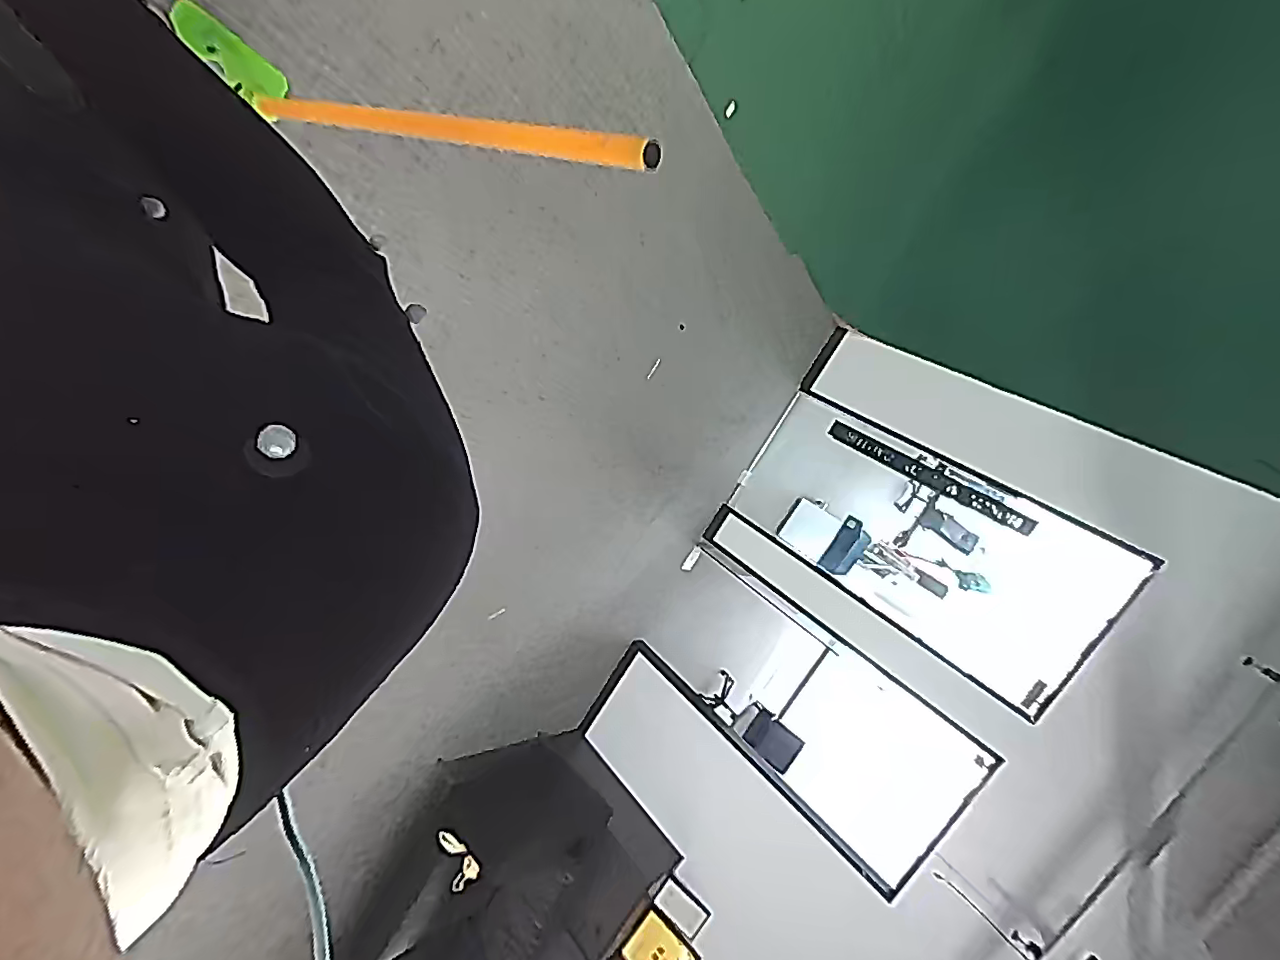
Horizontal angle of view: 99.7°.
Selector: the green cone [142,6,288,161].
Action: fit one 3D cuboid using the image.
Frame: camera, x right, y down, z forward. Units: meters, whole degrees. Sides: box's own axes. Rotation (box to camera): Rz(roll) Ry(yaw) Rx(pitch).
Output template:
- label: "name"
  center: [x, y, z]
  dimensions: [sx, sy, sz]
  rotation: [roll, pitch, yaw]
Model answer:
- label: "green cone"
  center: [-0.755, -0.722, 1.017]
  dimensions: [0.200, 0.368, 0.202]
  rotation: [-58, 145, 6]
